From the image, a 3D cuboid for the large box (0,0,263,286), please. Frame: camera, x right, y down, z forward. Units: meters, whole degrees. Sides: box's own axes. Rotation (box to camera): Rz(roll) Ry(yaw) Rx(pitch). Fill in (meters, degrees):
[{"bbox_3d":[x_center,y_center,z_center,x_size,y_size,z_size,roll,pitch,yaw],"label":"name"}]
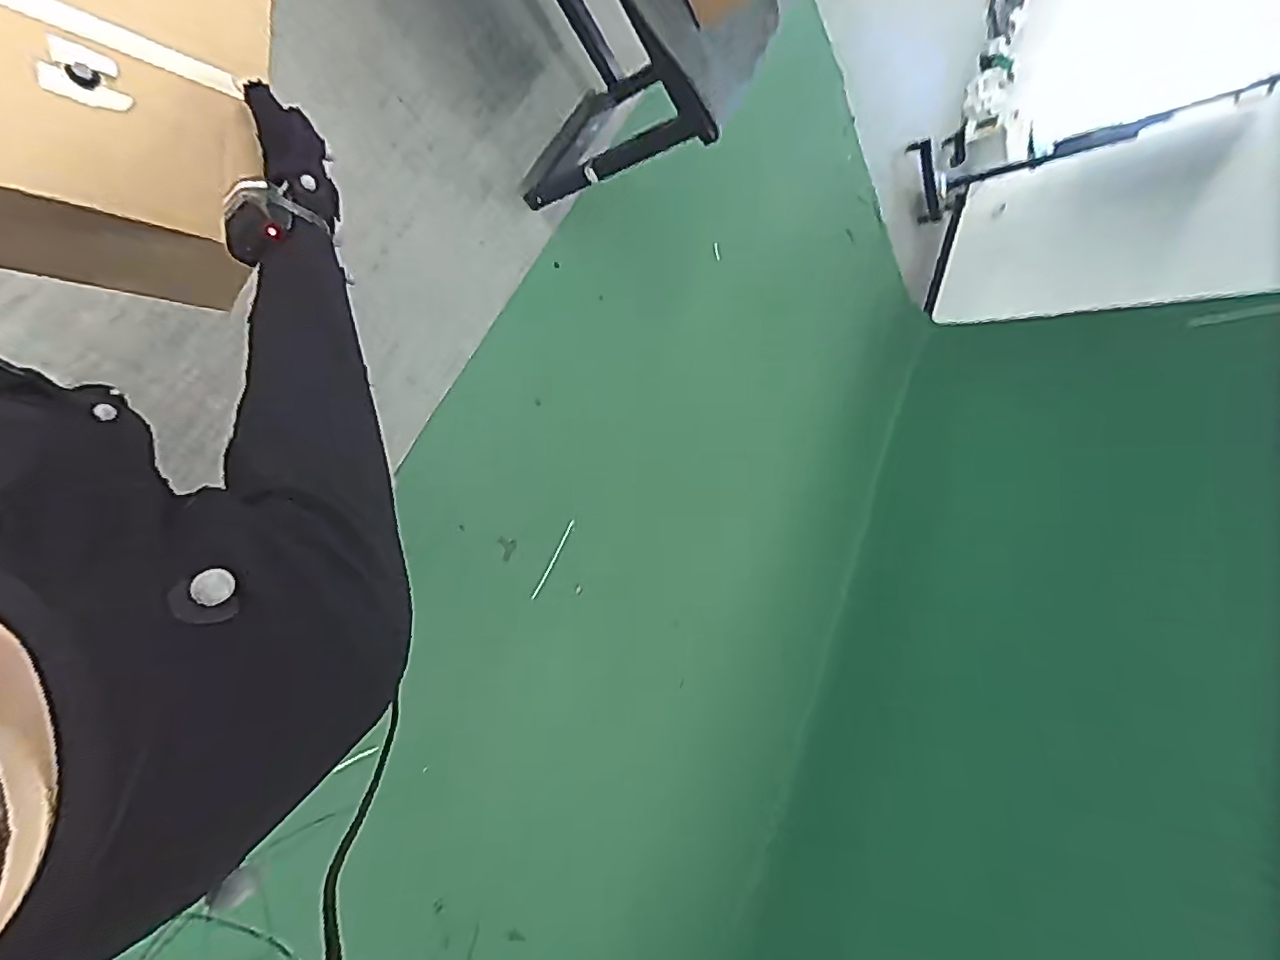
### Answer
[{"bbox_3d":[-0.647,-0.424,0.536,0.408,0.320,0.320,1,92,-45],"label":"large box"}]
